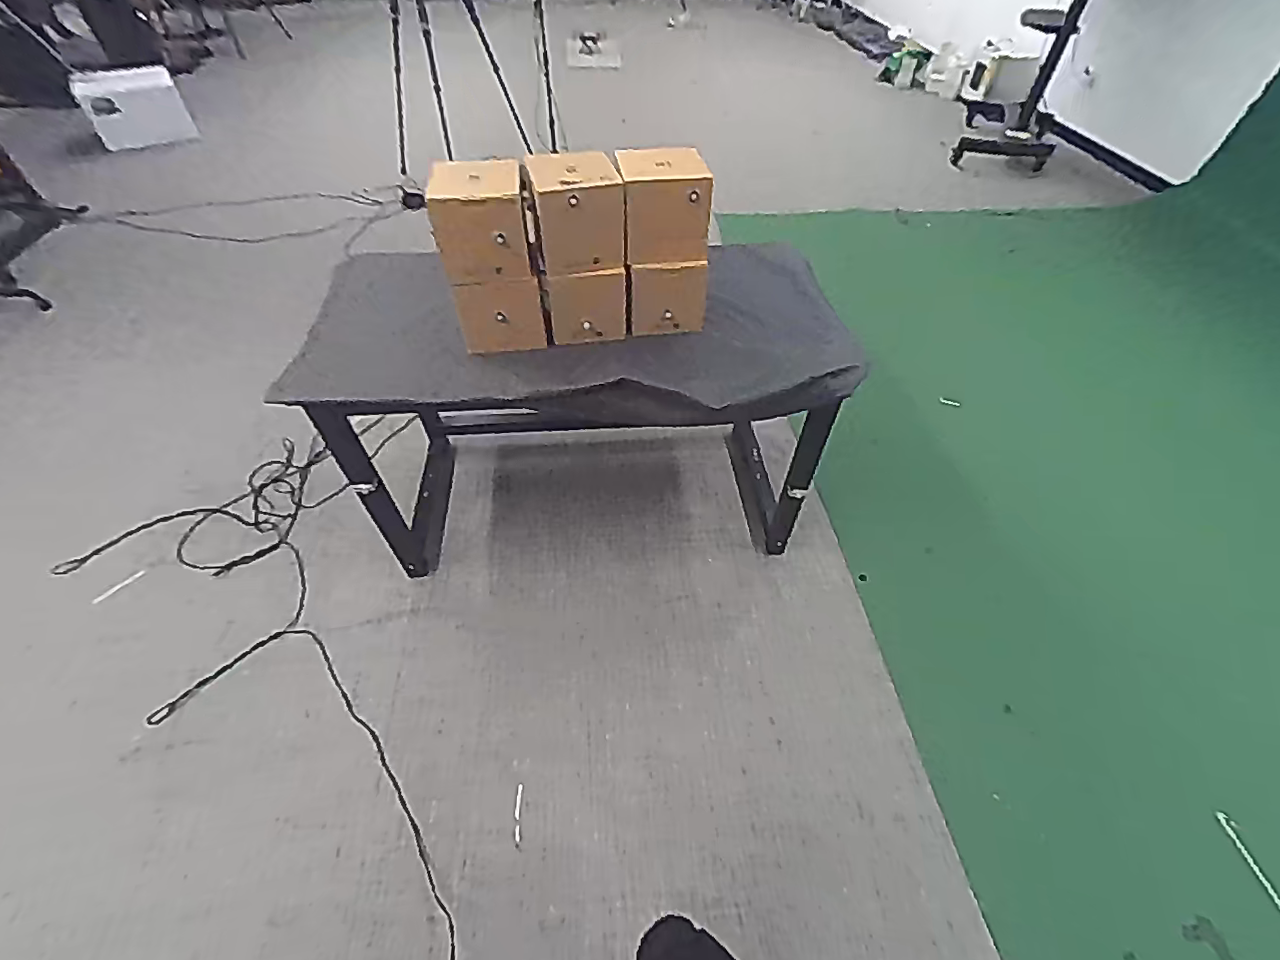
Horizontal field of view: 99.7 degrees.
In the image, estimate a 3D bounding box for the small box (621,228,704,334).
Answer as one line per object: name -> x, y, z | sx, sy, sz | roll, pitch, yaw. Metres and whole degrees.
small box -> 0.044, -0.459, 1.252 | 0.168, 0.176, 0.179 | -6, 50, -5
